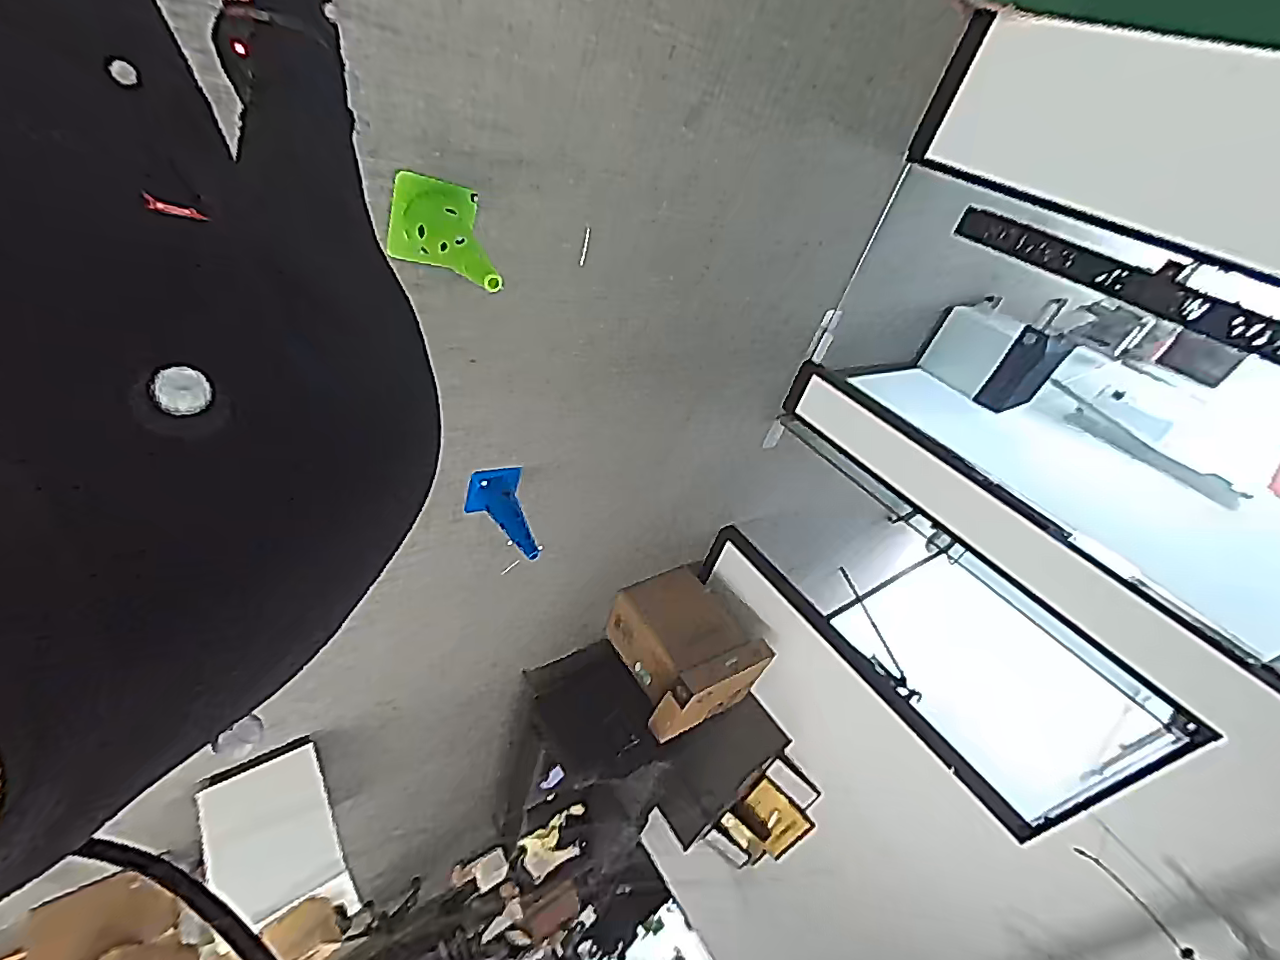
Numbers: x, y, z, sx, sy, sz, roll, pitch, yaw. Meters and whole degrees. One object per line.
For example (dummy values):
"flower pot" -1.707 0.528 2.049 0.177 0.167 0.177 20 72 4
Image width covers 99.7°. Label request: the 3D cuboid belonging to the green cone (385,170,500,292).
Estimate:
"green cone" -0.416 -0.528 1.231 0.200 0.368 0.202 -7 133 -41
